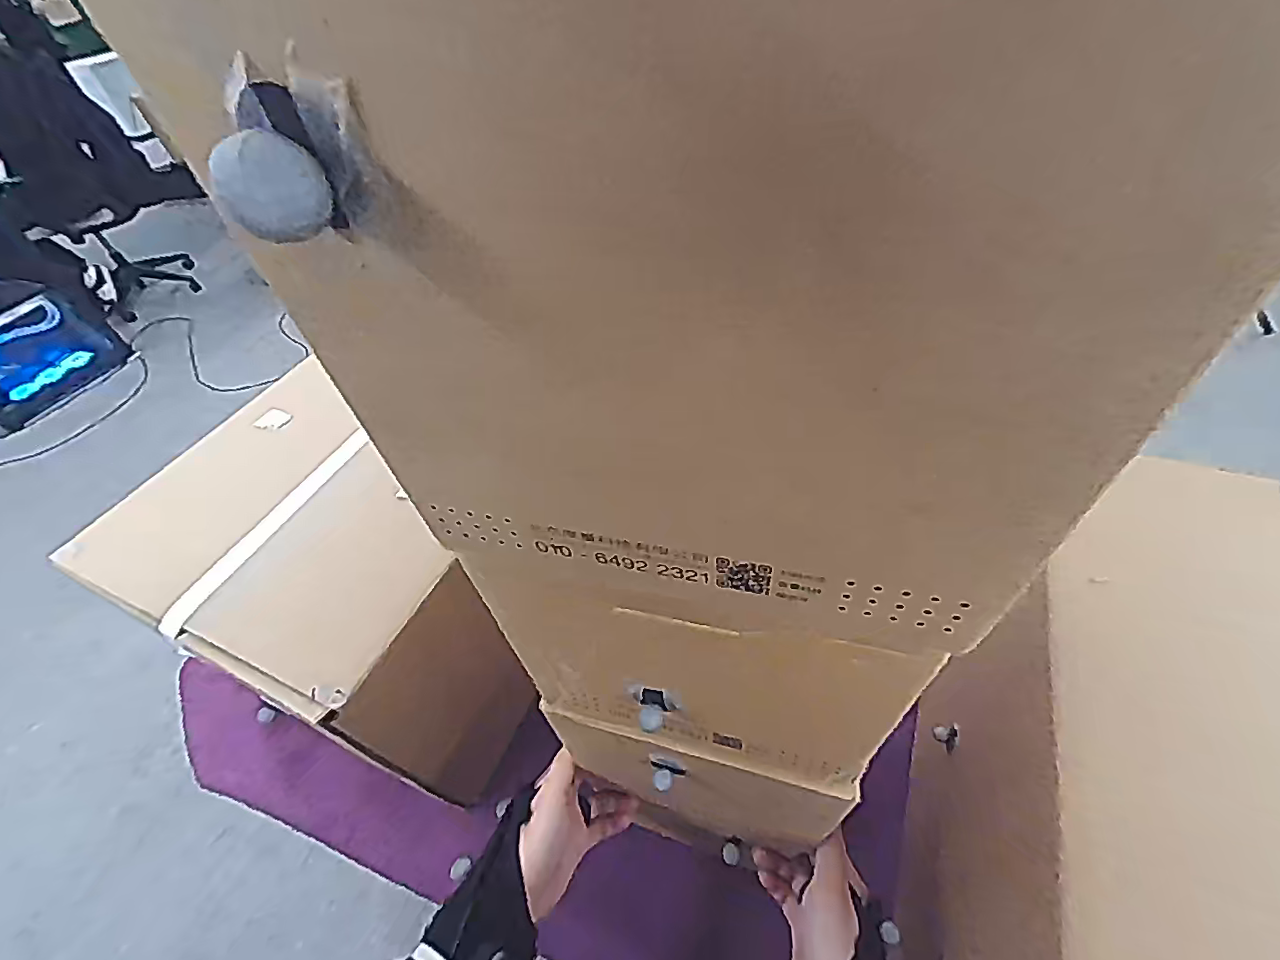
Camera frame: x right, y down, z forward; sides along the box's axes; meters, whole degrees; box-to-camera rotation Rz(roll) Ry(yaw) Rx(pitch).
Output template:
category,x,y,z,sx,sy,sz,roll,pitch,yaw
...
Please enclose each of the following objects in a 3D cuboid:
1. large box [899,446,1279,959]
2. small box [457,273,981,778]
category,x,y,z,sx,sy,sz,roll,pitch,yaw
large box,0.399,0.246,0.386,0.320,0.320,0.408,16,51,18
small box,0.043,0.019,0.275,0.168,0.176,0.179,8,50,15
